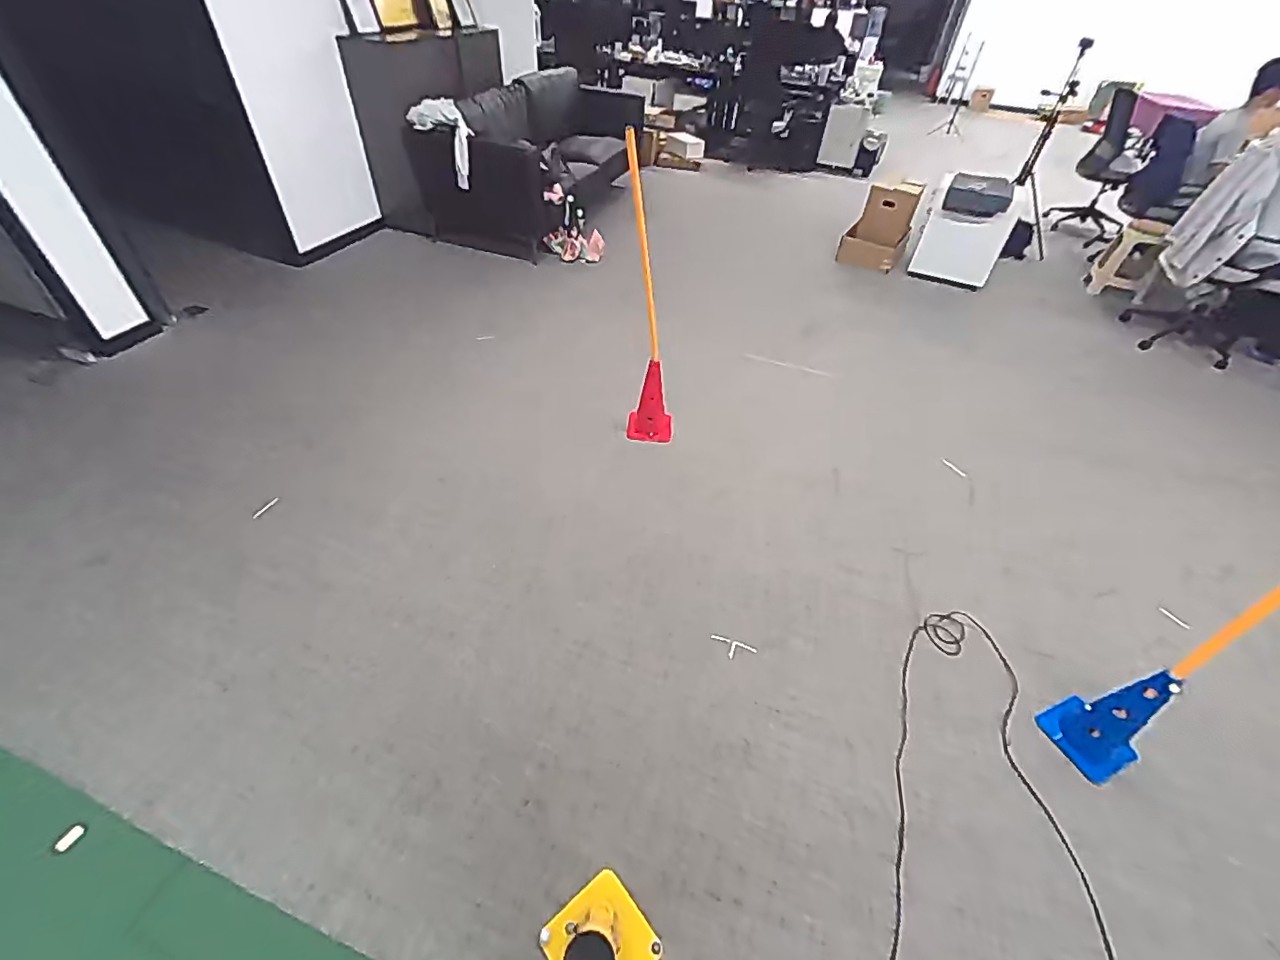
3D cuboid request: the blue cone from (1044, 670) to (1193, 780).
[{"bbox_3d":[1.287,0.605,1.428,0.193,0.380,0.192,-14,45,-22],"label":"blue cone"}]
